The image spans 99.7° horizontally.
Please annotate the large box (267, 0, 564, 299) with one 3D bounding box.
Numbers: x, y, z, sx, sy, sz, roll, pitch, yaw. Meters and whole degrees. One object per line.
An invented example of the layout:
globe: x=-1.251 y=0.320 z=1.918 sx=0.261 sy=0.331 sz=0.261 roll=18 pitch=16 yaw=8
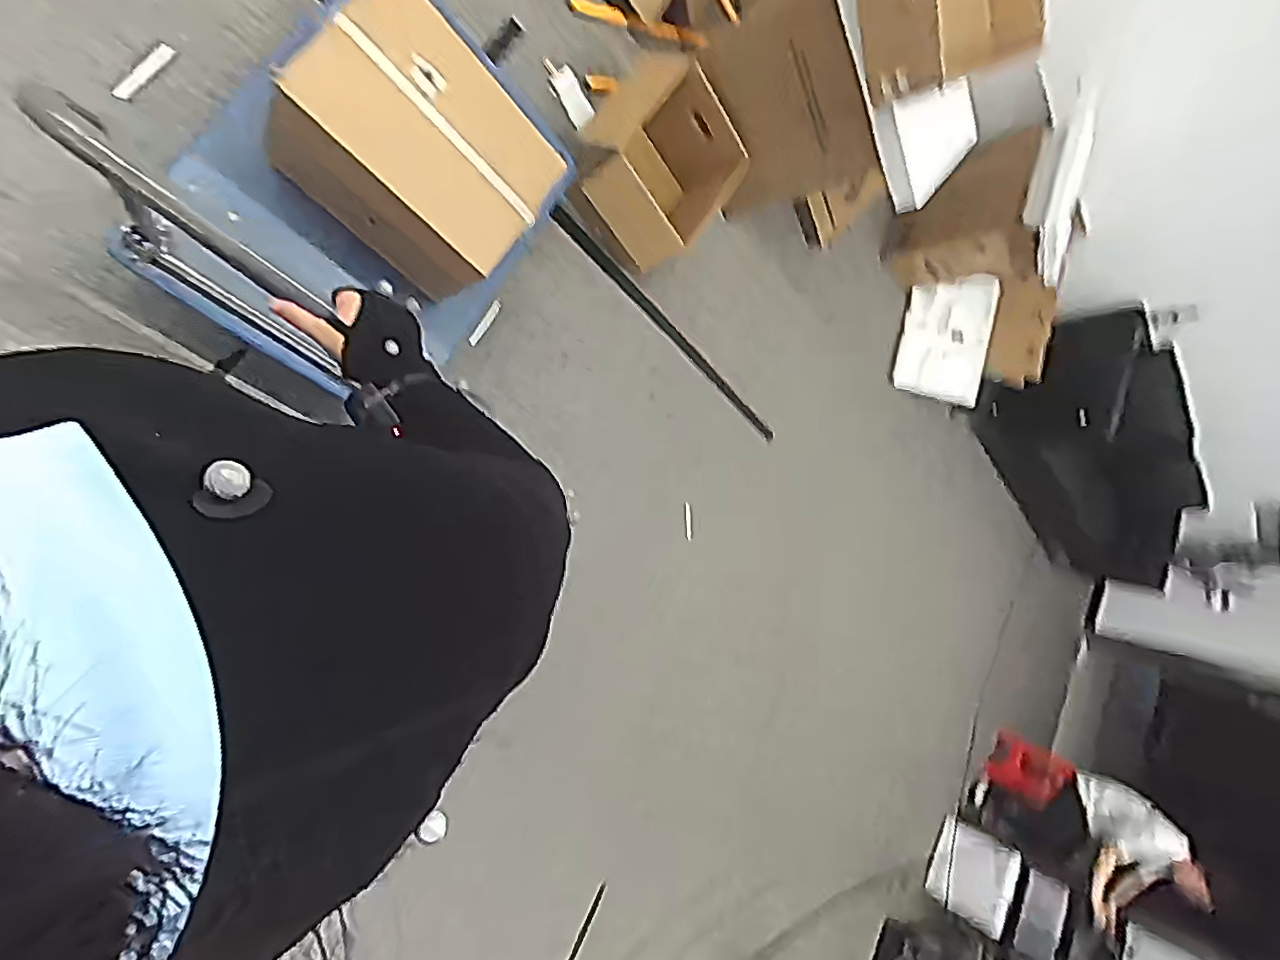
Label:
large box: x=-0.438 y=-0.632 z=1.071 sx=0.408 sy=0.320 sz=0.320 roll=40 pitch=71 yaw=-32
